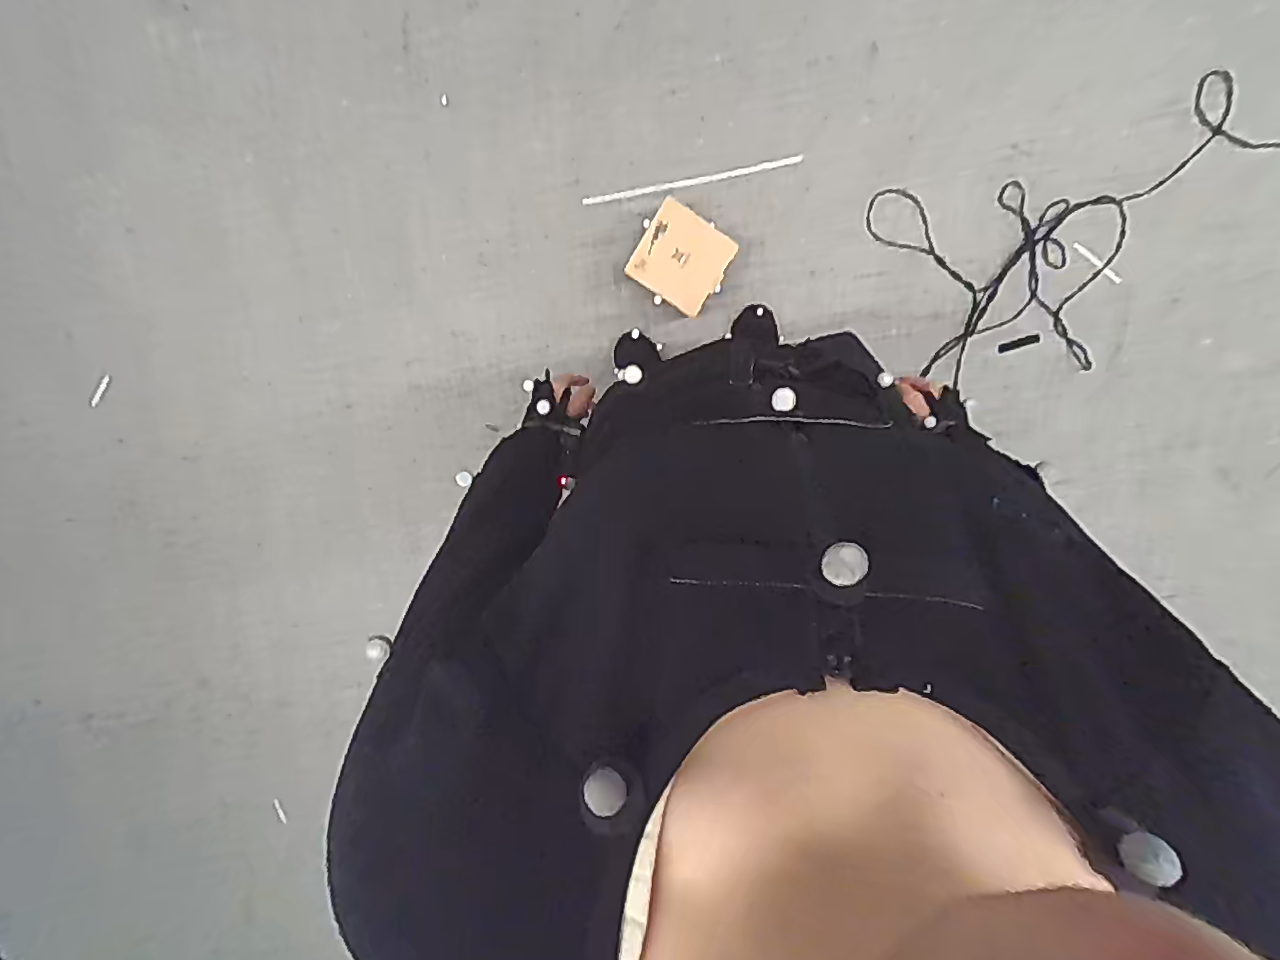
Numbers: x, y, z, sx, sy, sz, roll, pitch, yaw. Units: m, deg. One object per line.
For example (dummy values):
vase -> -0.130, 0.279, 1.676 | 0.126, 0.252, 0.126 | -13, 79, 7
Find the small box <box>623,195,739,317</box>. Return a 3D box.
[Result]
small box -> 0.084, -0.468, 1.146 | 0.179, 0.176, 0.168 | 32, 107, -8
